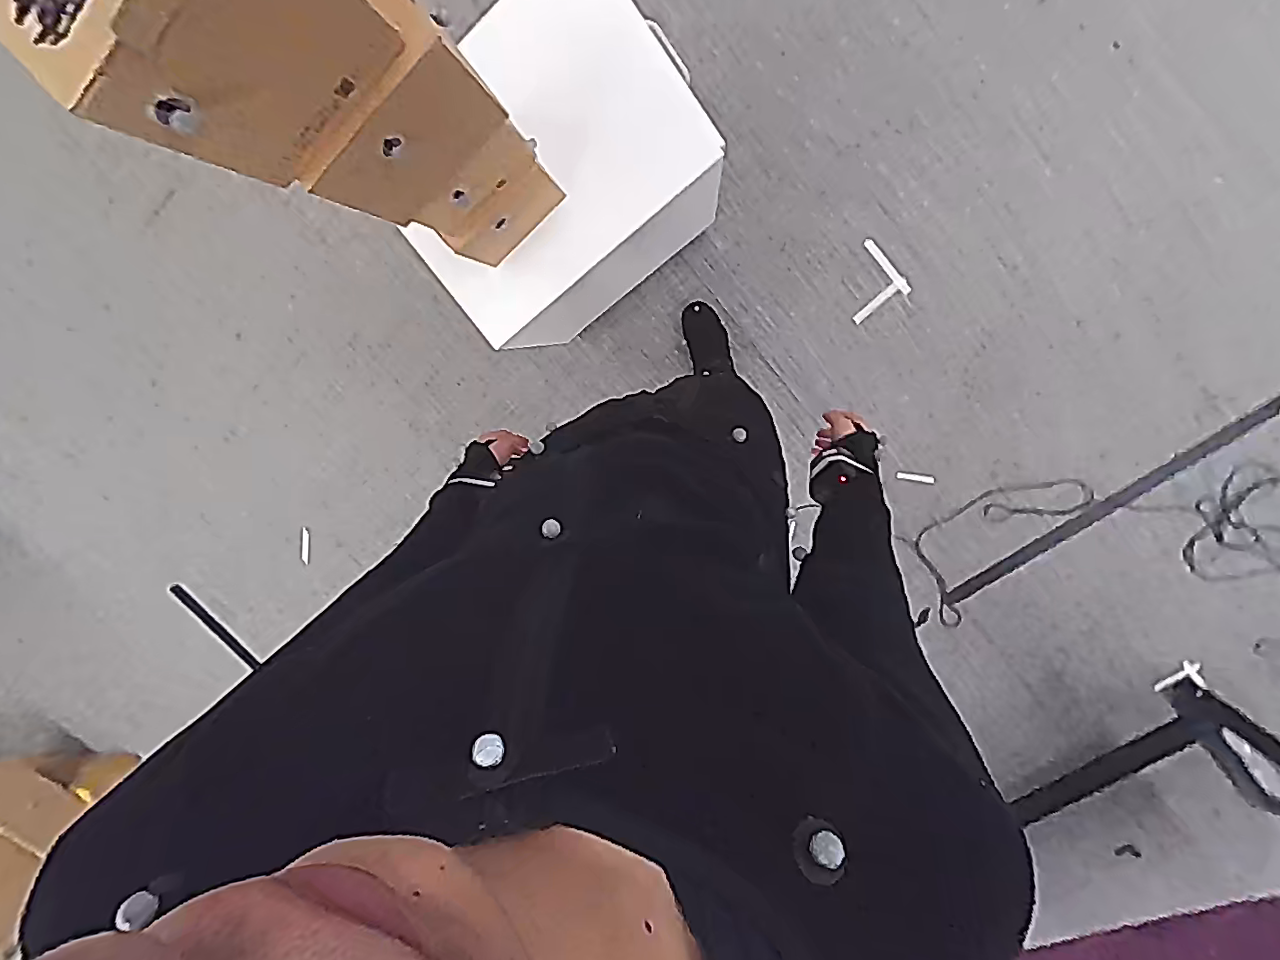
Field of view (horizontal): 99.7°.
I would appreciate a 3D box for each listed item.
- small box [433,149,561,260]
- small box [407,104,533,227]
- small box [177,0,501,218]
[{"bbox_3d":[-0.248,-0.468,0.838,0.179,0.176,0.168,-39,98,13],"label":"small box"},{"bbox_3d":[-0.263,-0.444,0.677,0.168,0.176,0.179,-38,98,14],"label":"small box"},{"bbox_3d":[-0.266,-0.388,0.521,0.179,0.176,0.168,-38,98,14],"label":"small box"}]
